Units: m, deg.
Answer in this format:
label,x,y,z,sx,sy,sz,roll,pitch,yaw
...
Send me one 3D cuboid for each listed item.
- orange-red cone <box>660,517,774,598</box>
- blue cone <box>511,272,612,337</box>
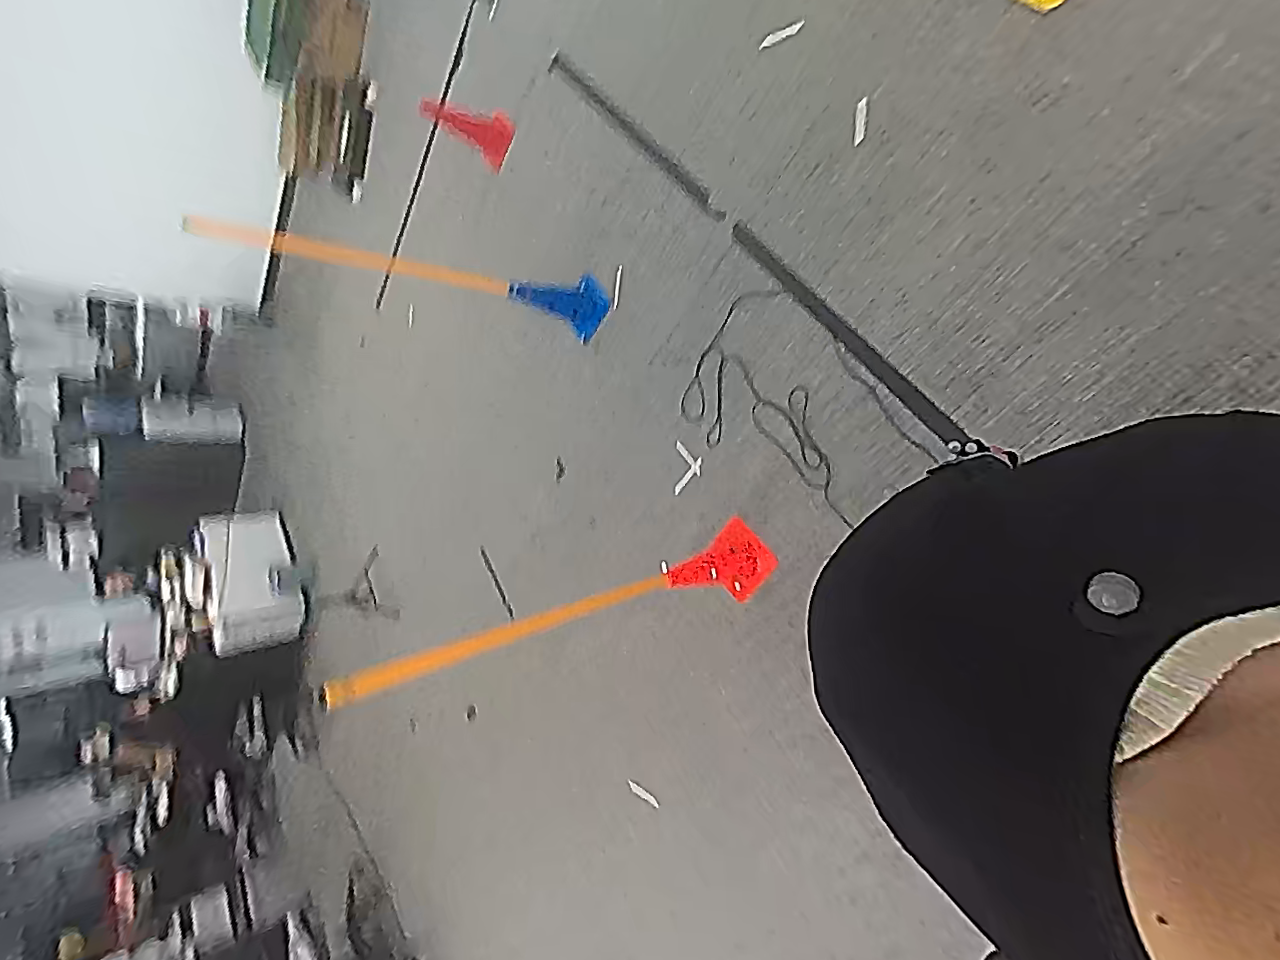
label,x,y,z,sx,sy,sz,roll,pitch,yaw
orange-red cone,0.183,0.241,1.527,0.198,0.360,0.199,51,122,28
blue cone,-0.303,-0.665,1.948,0.193,0.380,0.192,-48,62,33
